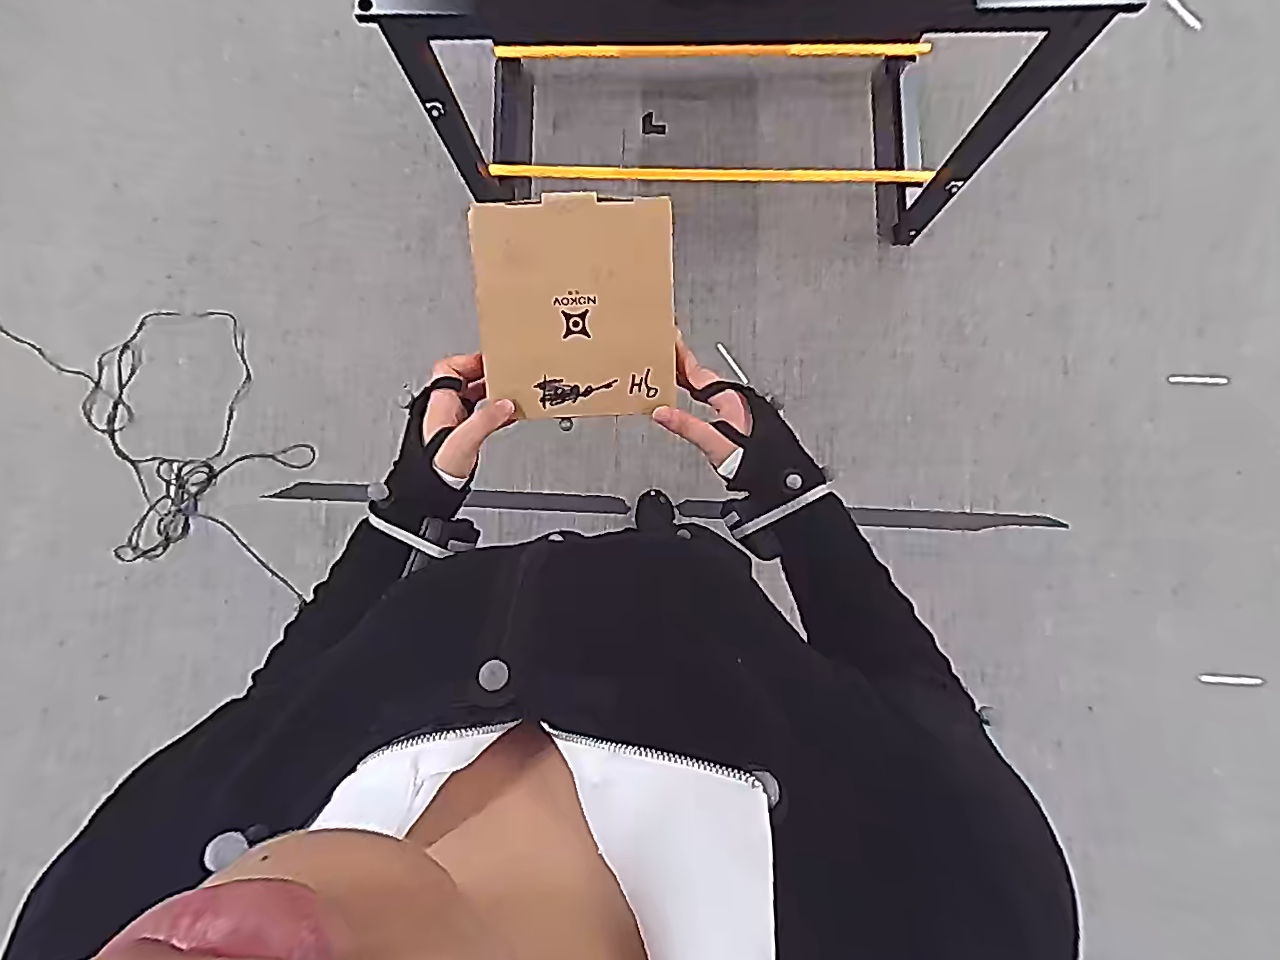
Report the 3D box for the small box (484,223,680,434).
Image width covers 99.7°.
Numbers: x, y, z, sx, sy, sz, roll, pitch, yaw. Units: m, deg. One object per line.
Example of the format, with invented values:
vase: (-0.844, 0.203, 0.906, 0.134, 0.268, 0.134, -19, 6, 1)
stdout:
small box: (-0.050, -0.144, 0.550, 0.168, 0.176, 0.179, -3, 102, 0)
